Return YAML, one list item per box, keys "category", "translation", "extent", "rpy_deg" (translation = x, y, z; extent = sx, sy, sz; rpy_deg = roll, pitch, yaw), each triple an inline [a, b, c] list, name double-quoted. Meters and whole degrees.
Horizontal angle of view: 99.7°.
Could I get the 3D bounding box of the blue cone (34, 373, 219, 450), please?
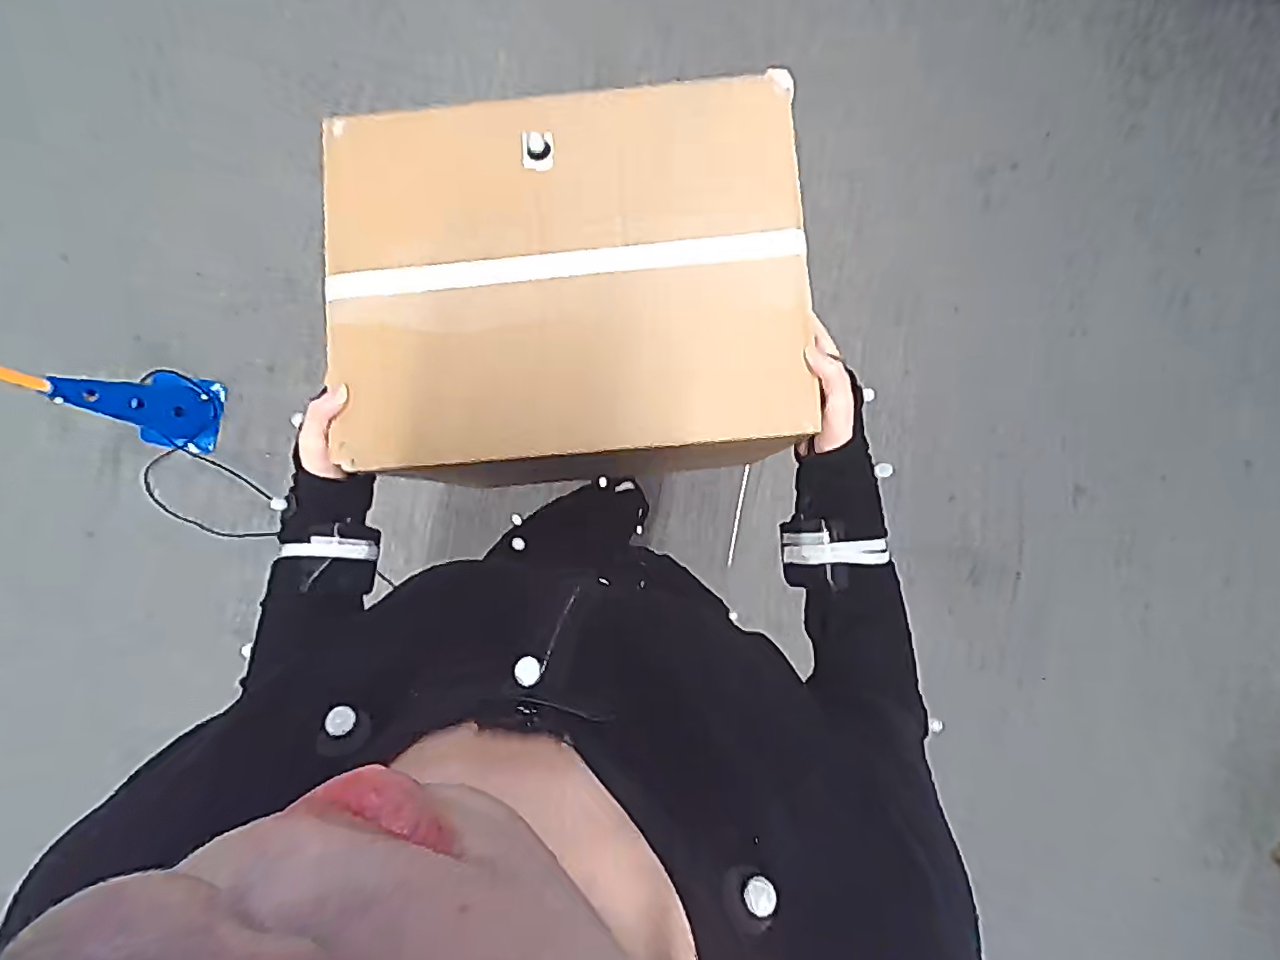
- category: "blue cone"
  translation: [-1.227, -0.191, 1.277]
  extent: [0.192, 0.380, 0.193]
  rpy_deg: [10, 86, -2]
